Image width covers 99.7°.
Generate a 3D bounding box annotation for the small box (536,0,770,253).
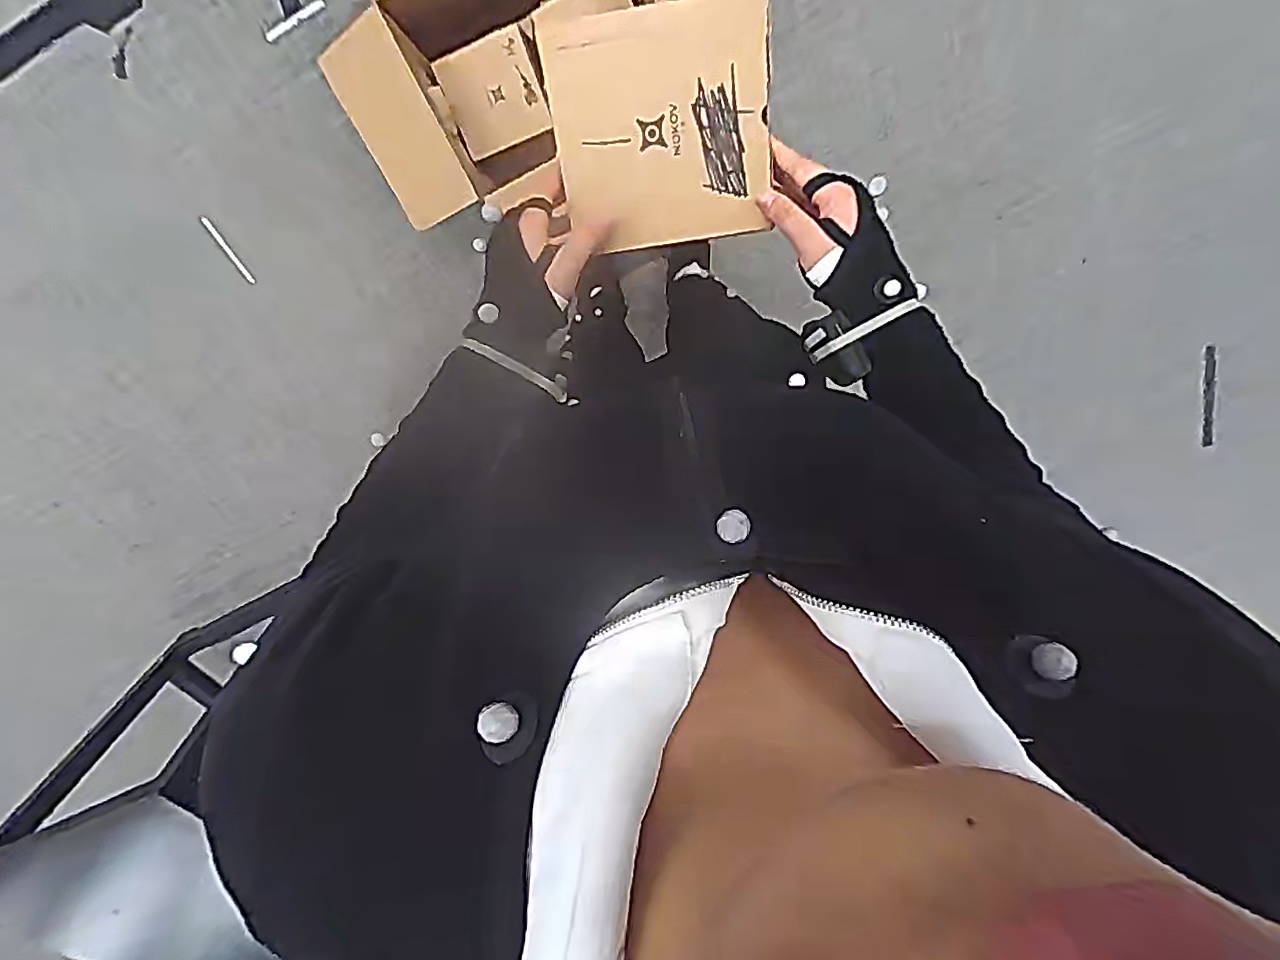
[{"bbox_3d":[0.018,-0.319,0.508,0.179,0.176,0.168,-6,116,5],"label":"small box"}]
